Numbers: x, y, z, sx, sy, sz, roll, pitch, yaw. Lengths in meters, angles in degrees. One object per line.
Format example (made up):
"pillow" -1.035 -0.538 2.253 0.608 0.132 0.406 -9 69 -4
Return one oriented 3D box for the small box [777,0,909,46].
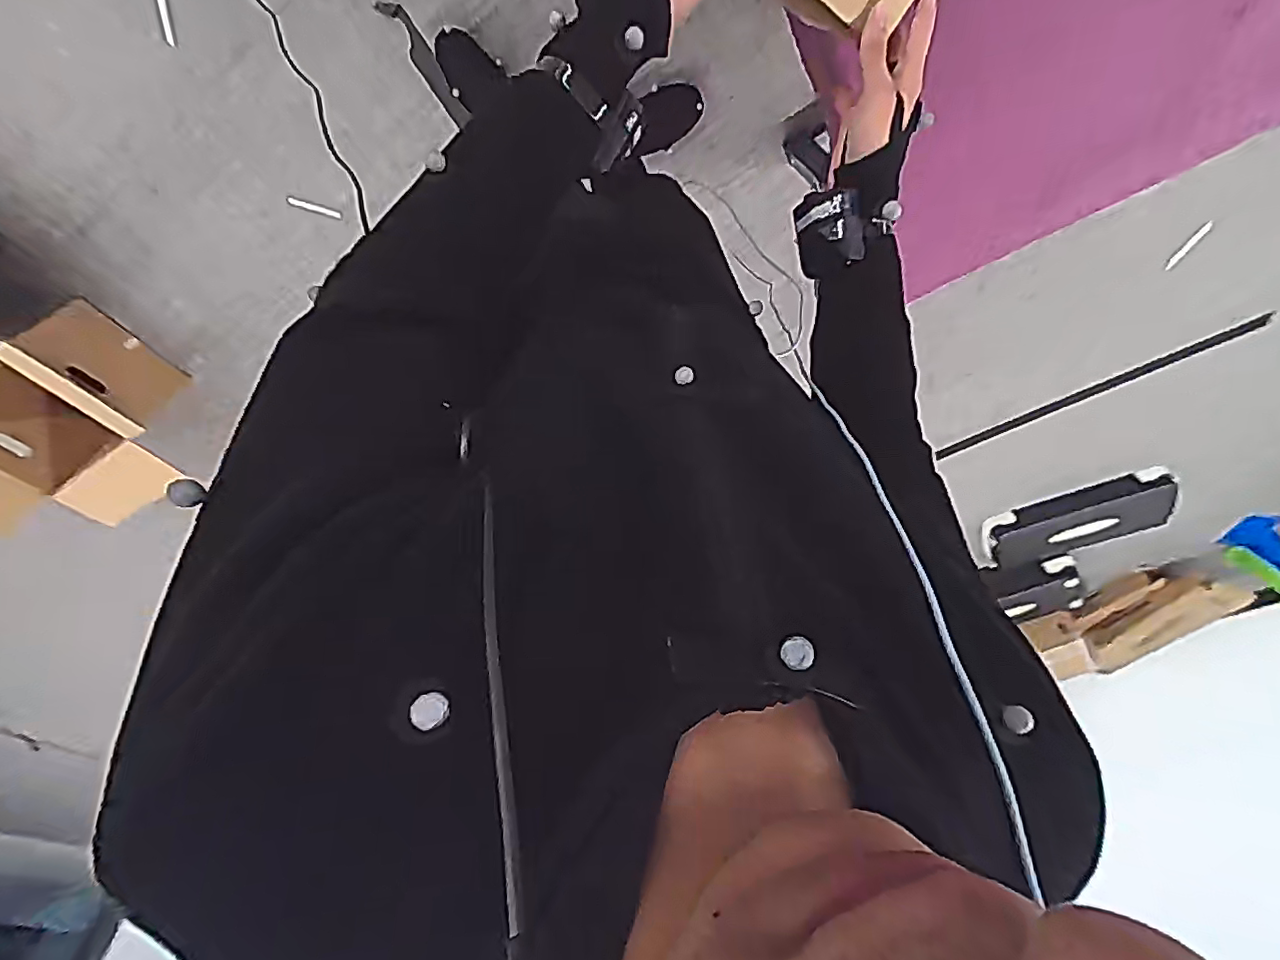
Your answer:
"small box" 0.140 -0.472 0.399 0.179 0.176 0.168 16 131 -26
